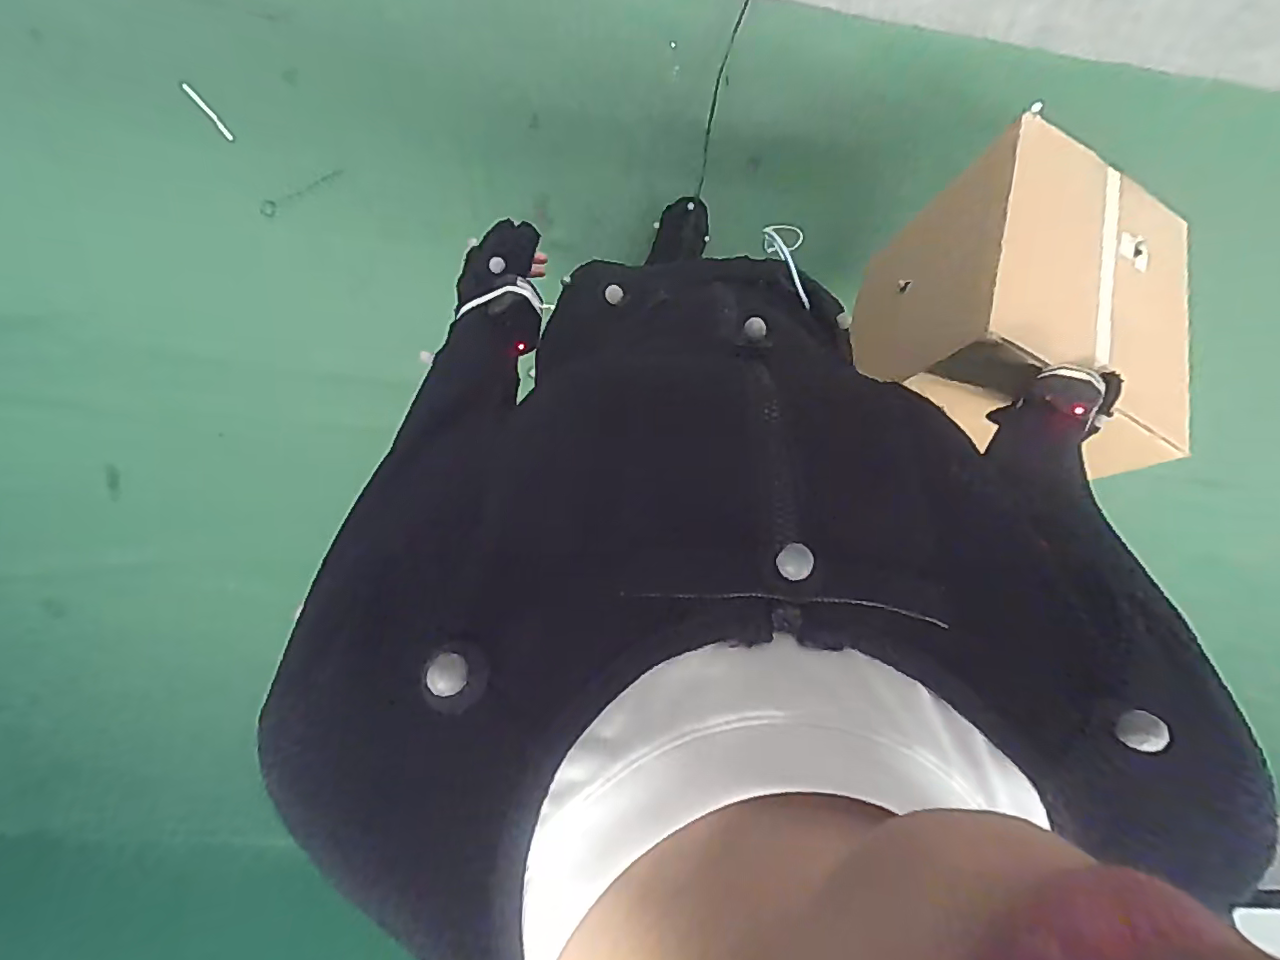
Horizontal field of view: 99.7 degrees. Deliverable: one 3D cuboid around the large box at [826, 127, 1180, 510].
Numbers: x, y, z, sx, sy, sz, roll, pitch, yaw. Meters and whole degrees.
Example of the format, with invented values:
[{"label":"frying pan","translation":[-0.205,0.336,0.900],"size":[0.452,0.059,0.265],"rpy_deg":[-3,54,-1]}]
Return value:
[{"label":"large box","translation":[0.540,-0.217,0.839],"size":[0.320,0.408,0.320],"rpy_deg":[27,157,-10]}]
